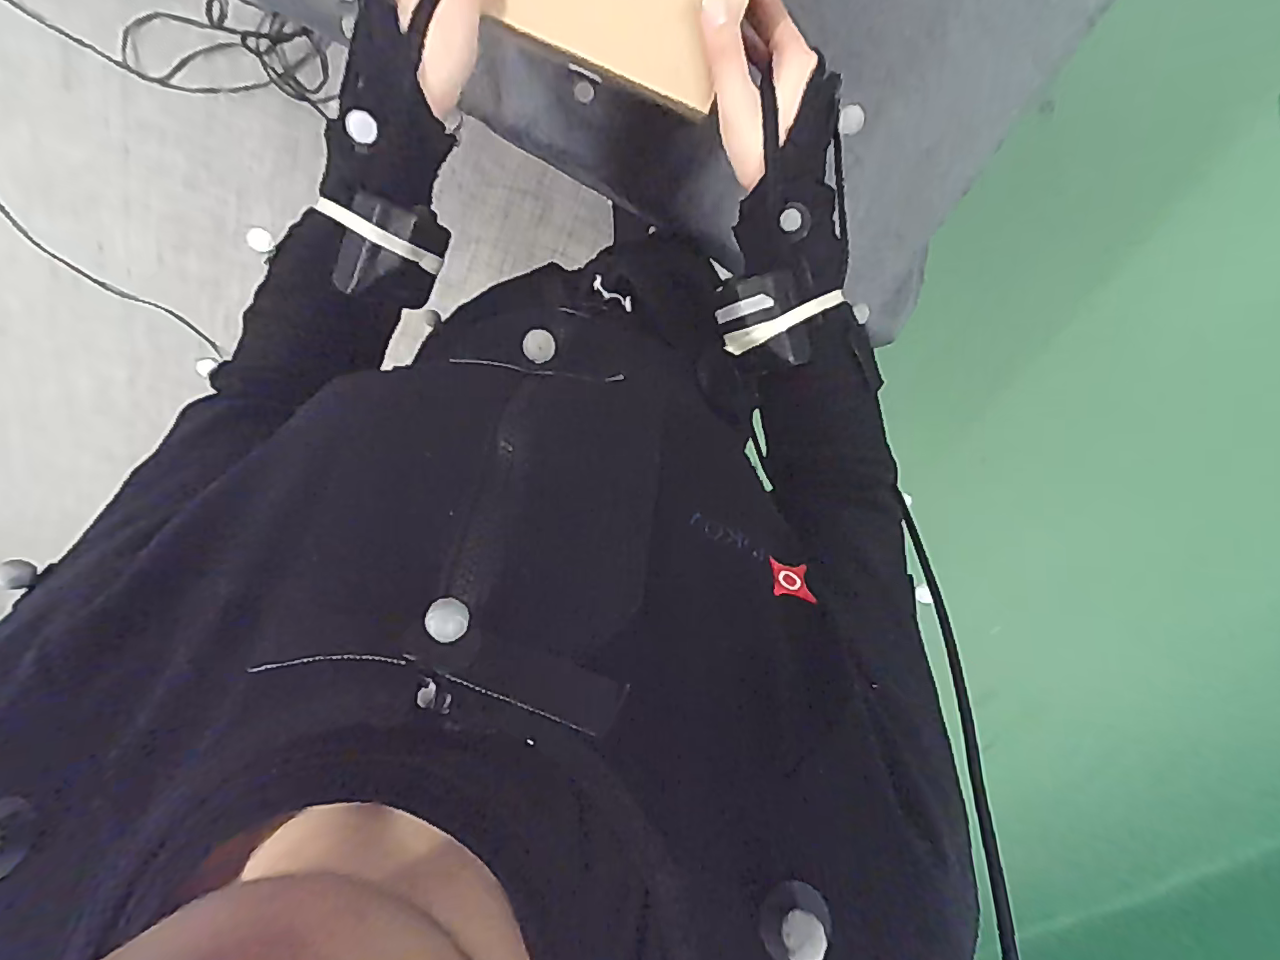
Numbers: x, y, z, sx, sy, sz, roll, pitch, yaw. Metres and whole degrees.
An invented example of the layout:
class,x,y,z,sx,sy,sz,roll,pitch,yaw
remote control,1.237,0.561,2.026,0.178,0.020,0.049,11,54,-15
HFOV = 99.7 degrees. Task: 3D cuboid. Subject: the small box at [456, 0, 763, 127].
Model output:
class,x,y,z,sx,sy,sz,roll,pitch,yaw
small box,0.003,-0.349,0.337,0.168,0.176,0.179,19,121,-7
